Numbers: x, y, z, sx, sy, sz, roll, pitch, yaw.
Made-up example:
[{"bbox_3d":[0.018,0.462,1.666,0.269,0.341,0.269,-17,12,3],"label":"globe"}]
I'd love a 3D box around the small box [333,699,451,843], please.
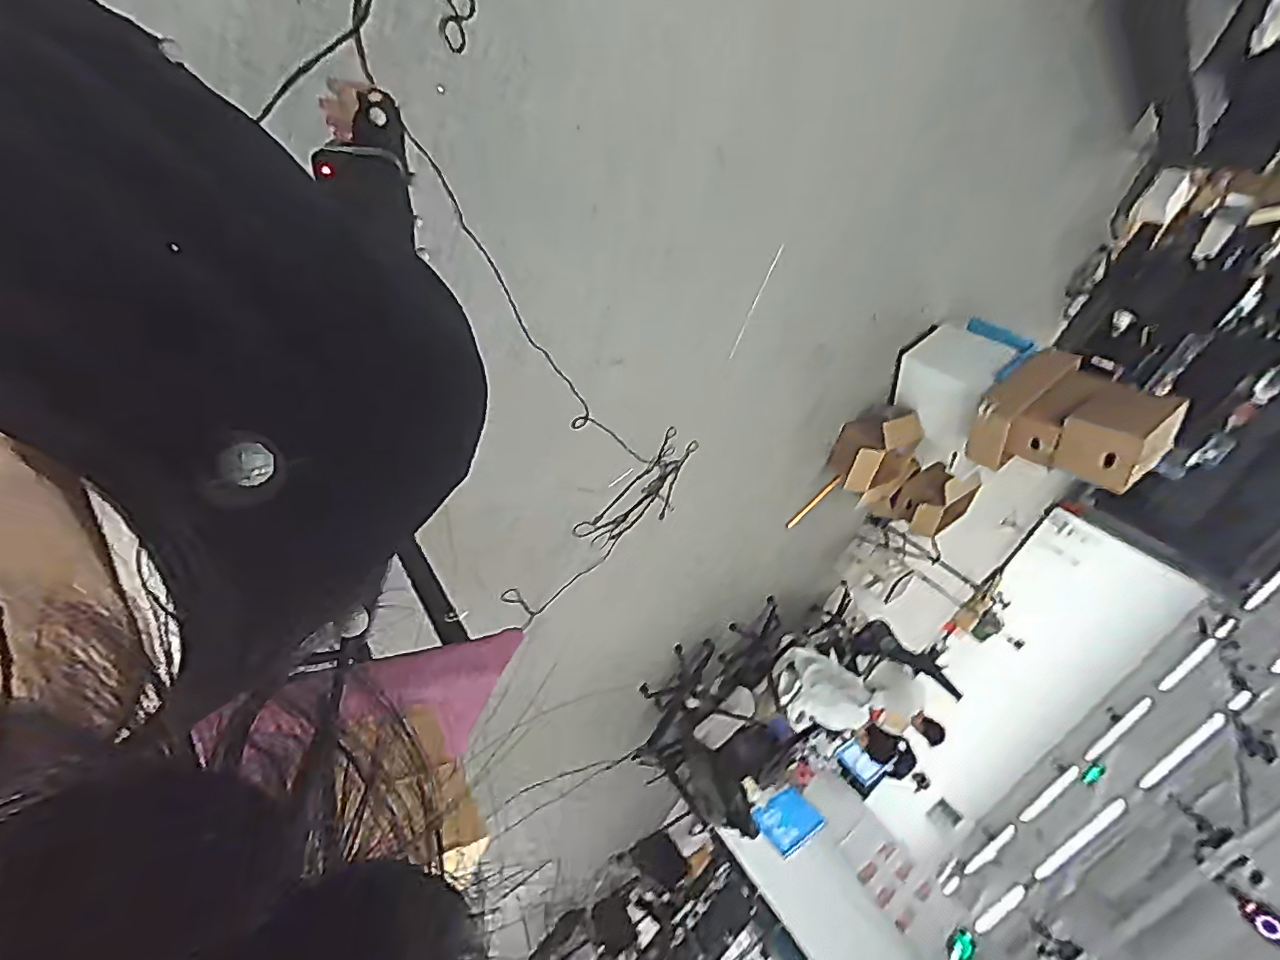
[{"bbox_3d":[-0.521,0.593,1.123,0.168,0.176,0.179,1,122,-45],"label":"small box"}]

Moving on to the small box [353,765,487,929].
[{"bbox_3d":[-0.421,0.673,1.021,0.168,0.176,0.179,3,120,-46],"label":"small box"}]
